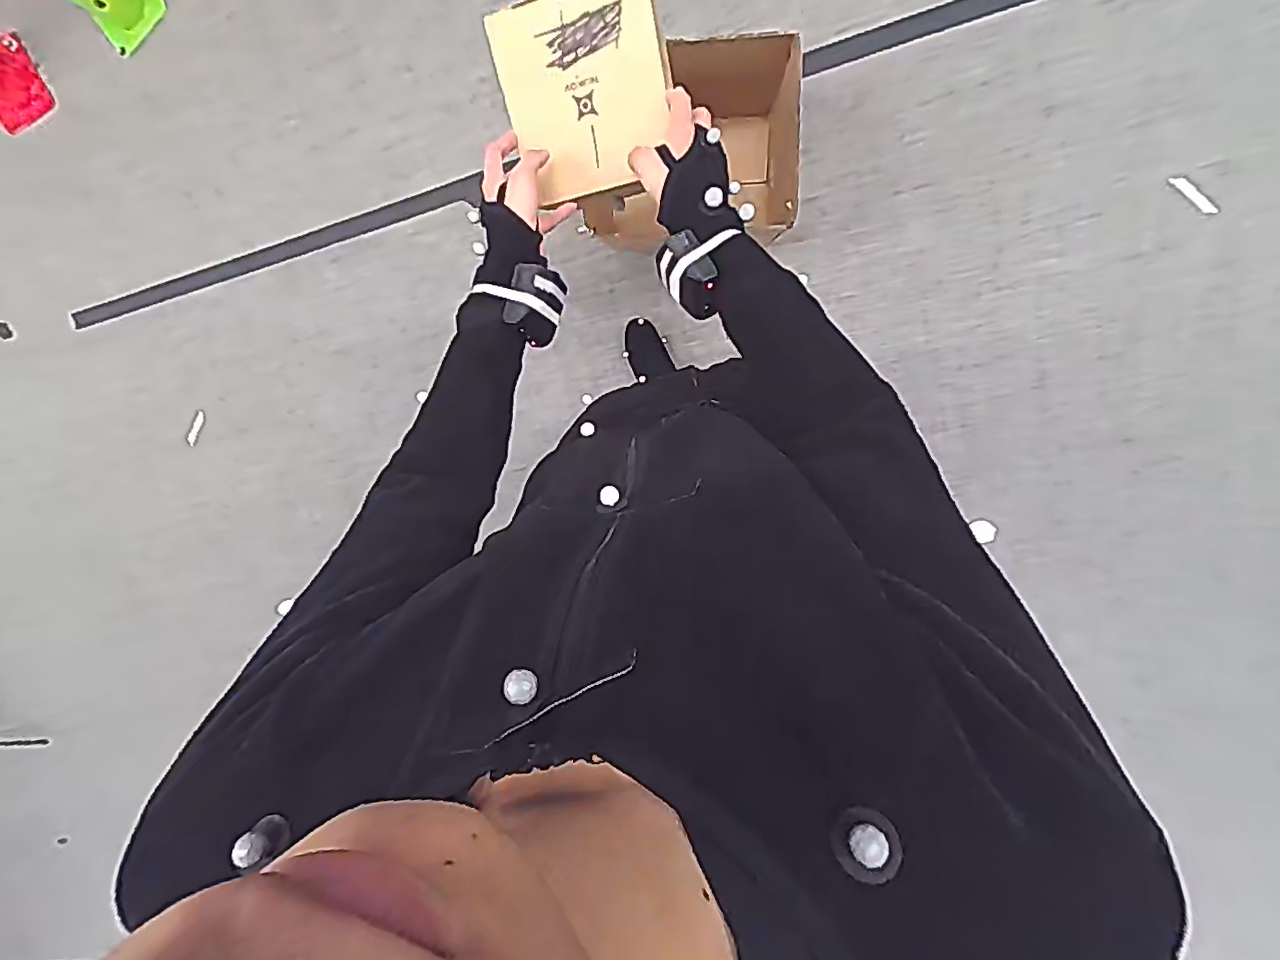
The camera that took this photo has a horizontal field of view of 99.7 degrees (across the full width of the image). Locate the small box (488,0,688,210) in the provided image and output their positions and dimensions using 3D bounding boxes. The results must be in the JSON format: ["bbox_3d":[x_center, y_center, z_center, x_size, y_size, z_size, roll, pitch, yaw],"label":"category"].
[{"bbox_3d":[-0.042,-0.418,0.610,0.168,0.176,0.179,-8,114,13],"label":"small box"}]
